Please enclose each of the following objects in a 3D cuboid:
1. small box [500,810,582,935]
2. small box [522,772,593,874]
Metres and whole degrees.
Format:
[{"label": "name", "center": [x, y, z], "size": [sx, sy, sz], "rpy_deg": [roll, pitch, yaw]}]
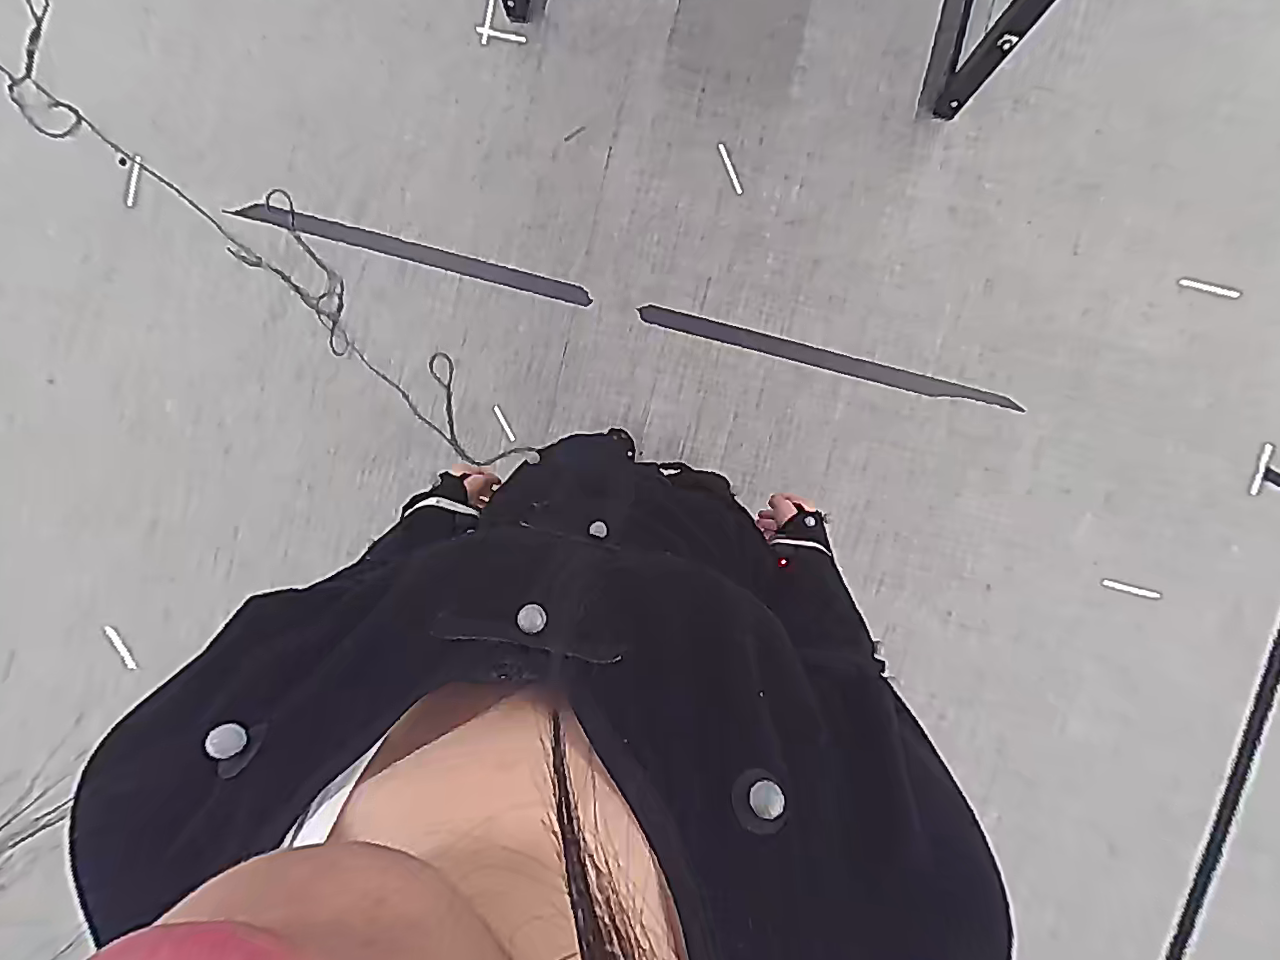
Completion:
[{"label": "small box", "center": [-0.230, 0.926, 1.286], "size": [0.168, 0.176, 0.179], "rpy_deg": [1, 94, 0]}, {"label": "small box", "center": [-0.217, 0.911, 1.450], "size": [0.168, 0.176, 0.179], "rpy_deg": [0, 93, 2]}]
